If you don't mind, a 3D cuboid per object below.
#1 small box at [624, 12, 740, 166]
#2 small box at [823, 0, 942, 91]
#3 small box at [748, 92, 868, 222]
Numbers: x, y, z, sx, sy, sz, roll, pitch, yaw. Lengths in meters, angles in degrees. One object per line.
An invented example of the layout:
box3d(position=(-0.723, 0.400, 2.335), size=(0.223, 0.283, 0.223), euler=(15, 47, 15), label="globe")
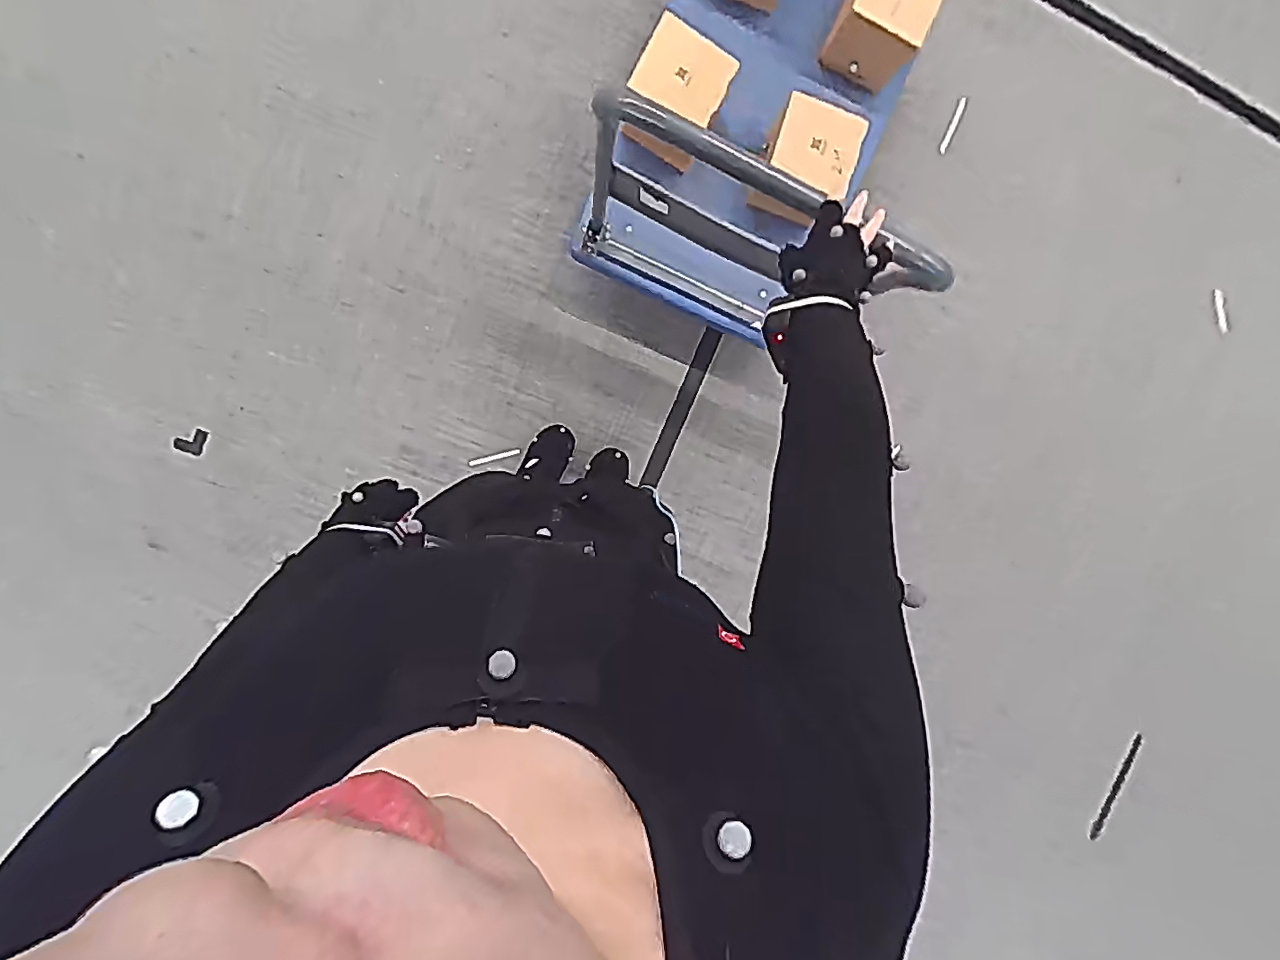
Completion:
box3d(position=(0.079, -0.814, 1.150), size=(0.179, 0.176, 0.168), euler=(28, 93, -10), label="small box")
box3d(position=(0.528, -1.008, 1.174), size=(0.168, 0.176, 0.179), euler=(23, 95, -8), label="small box")
box3d(position=(0.360, -0.699, 1.195), size=(0.179, 0.176, 0.168), euler=(17, 95, -8), label="small box")
